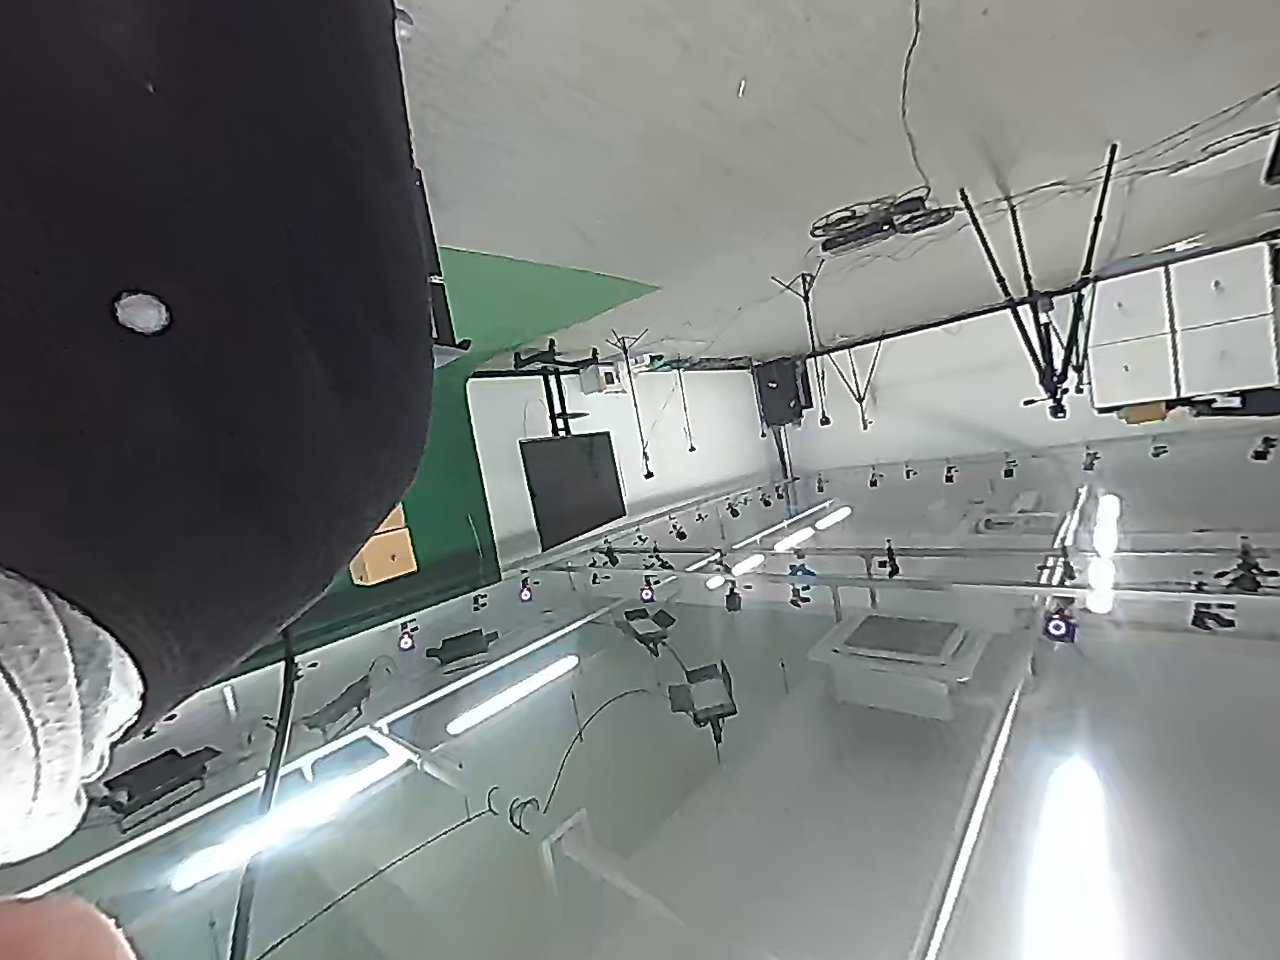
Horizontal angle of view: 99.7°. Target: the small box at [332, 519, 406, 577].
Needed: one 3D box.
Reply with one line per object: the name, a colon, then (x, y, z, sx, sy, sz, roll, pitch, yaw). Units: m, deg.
small box: (-0.999, 0.244, 1.990, 0.168, 0.176, 0.179, -6, -172, 43)
